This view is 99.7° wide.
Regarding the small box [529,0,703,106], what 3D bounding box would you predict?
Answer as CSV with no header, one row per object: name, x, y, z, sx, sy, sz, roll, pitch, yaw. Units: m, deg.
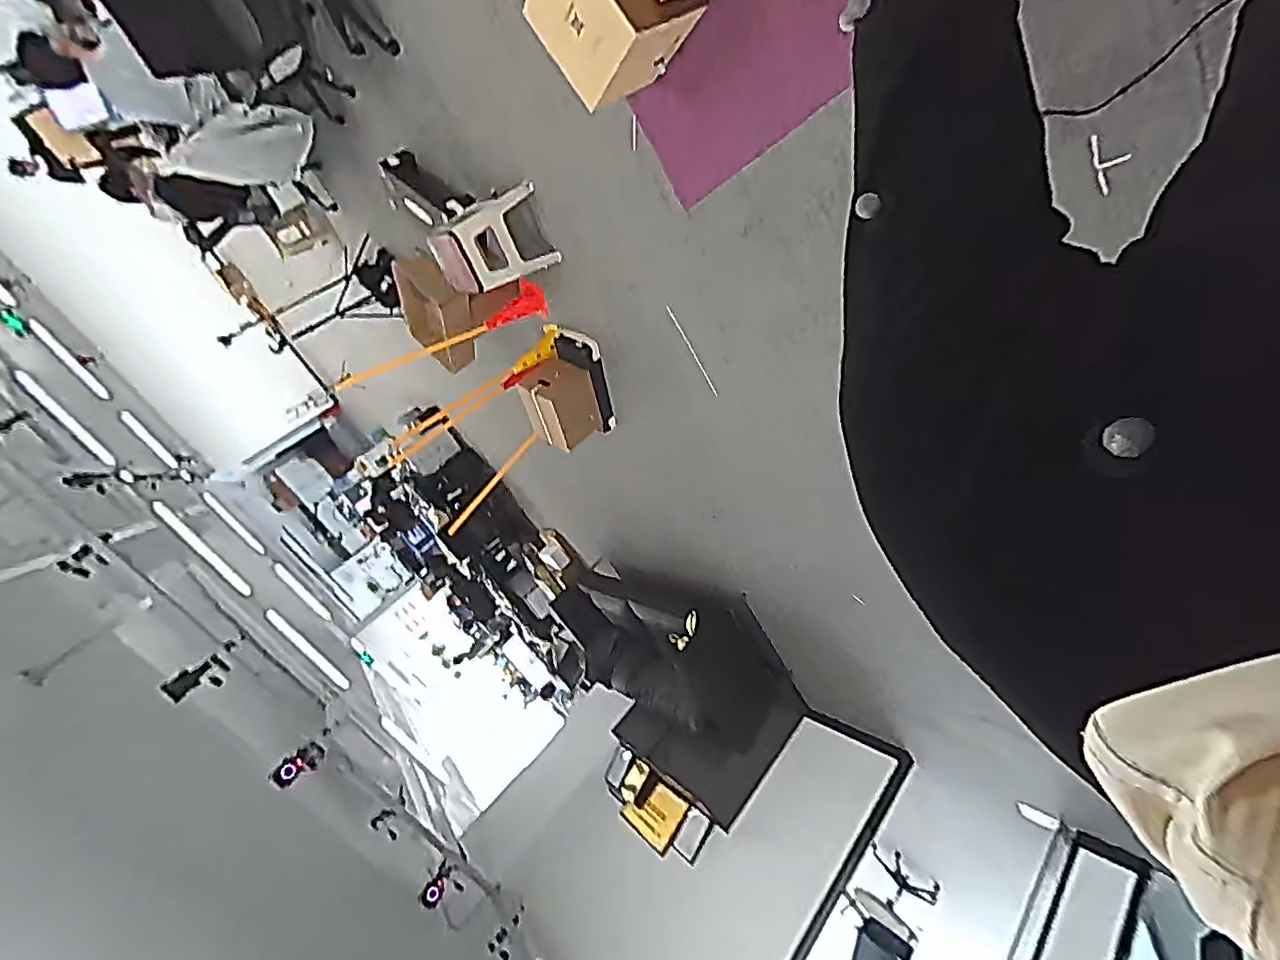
small box,-0.038,-0.745,0.847,0.179,0.176,0.168,53,155,-15
